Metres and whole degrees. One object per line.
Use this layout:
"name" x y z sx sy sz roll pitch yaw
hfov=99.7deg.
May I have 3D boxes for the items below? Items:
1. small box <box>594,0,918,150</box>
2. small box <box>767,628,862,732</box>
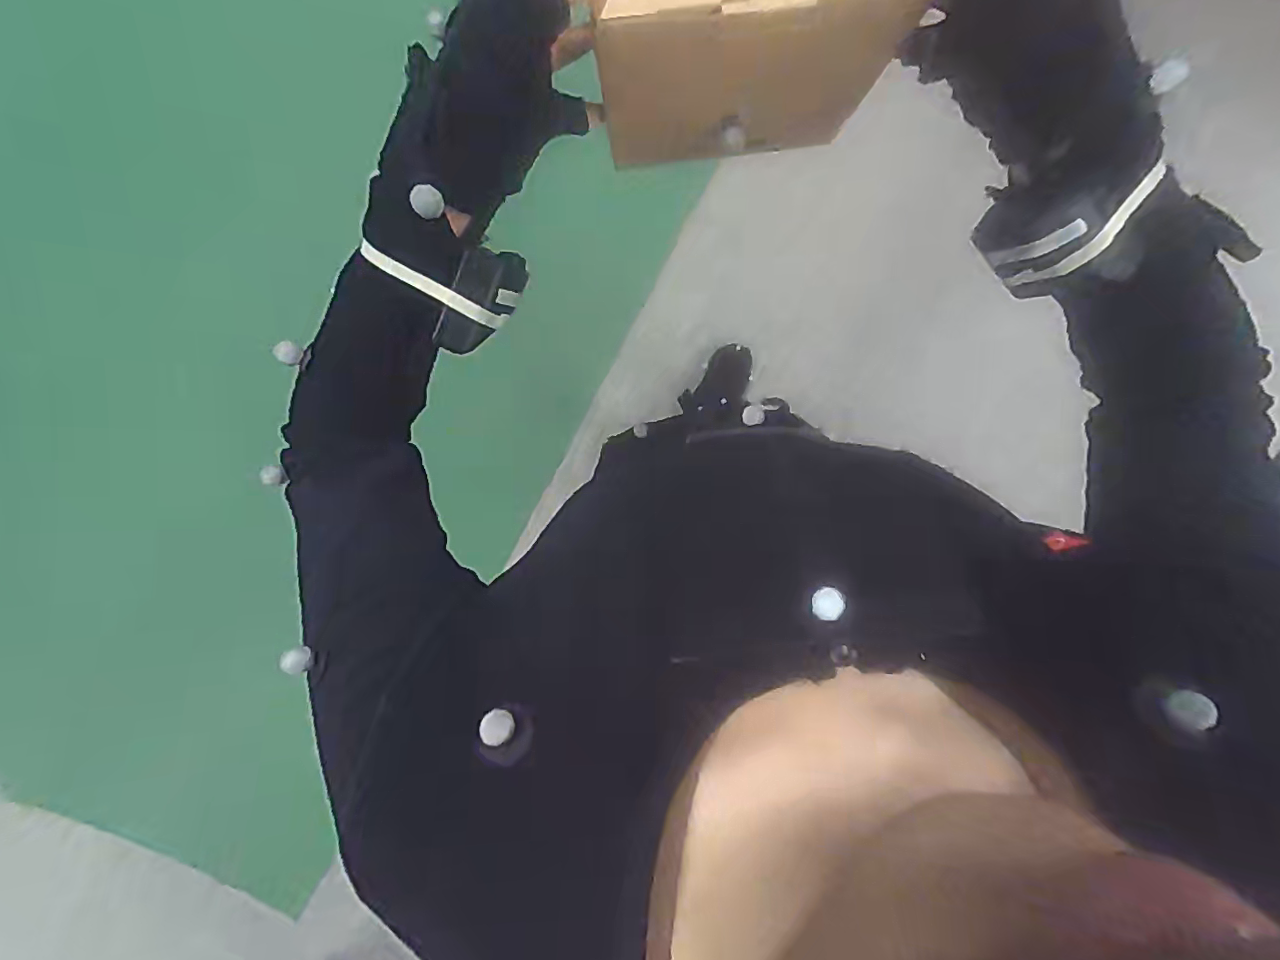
"small box" 0.053 -0.325 0.308 0.168 0.176 0.179 -6 100 3
"small box" 0.465 0.539 1.477 0.168 0.176 0.179 25 97 -5
